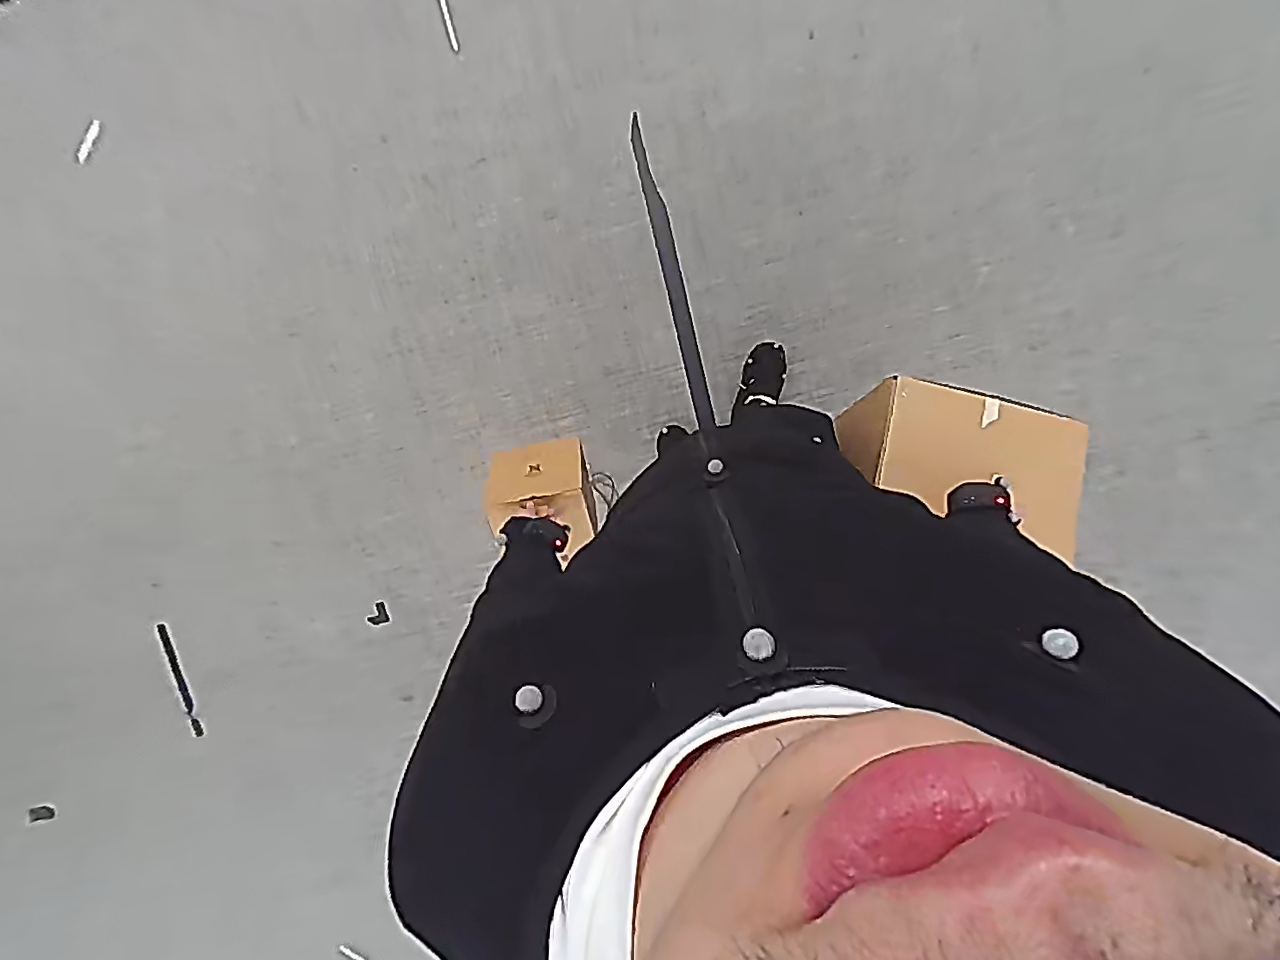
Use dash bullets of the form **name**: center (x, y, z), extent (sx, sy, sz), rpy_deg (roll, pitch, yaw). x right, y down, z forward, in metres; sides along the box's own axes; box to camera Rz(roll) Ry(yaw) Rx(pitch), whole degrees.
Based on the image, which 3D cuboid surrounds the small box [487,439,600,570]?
- **small box**: center (-0.170, 0.050, 1.003), extent (0.168, 0.179, 0.176), rpy_deg (-10, 124, 0)
